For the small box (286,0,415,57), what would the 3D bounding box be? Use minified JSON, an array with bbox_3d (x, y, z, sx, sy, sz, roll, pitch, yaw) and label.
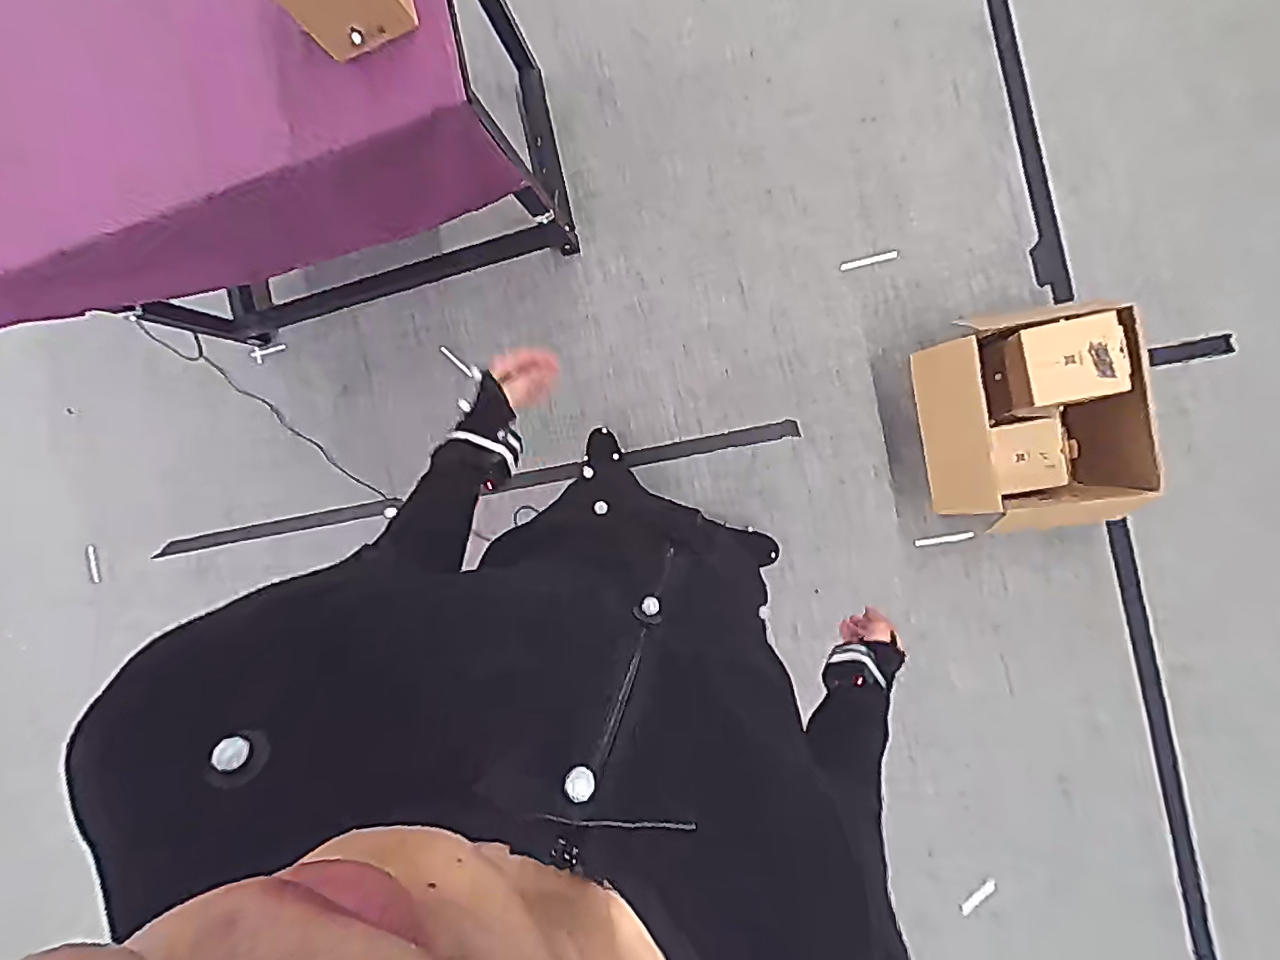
[{"bbox_3d":[-0.497,-0.847,0.869,0.168,0.176,0.179,-15,89,11],"label":"small box"}]
